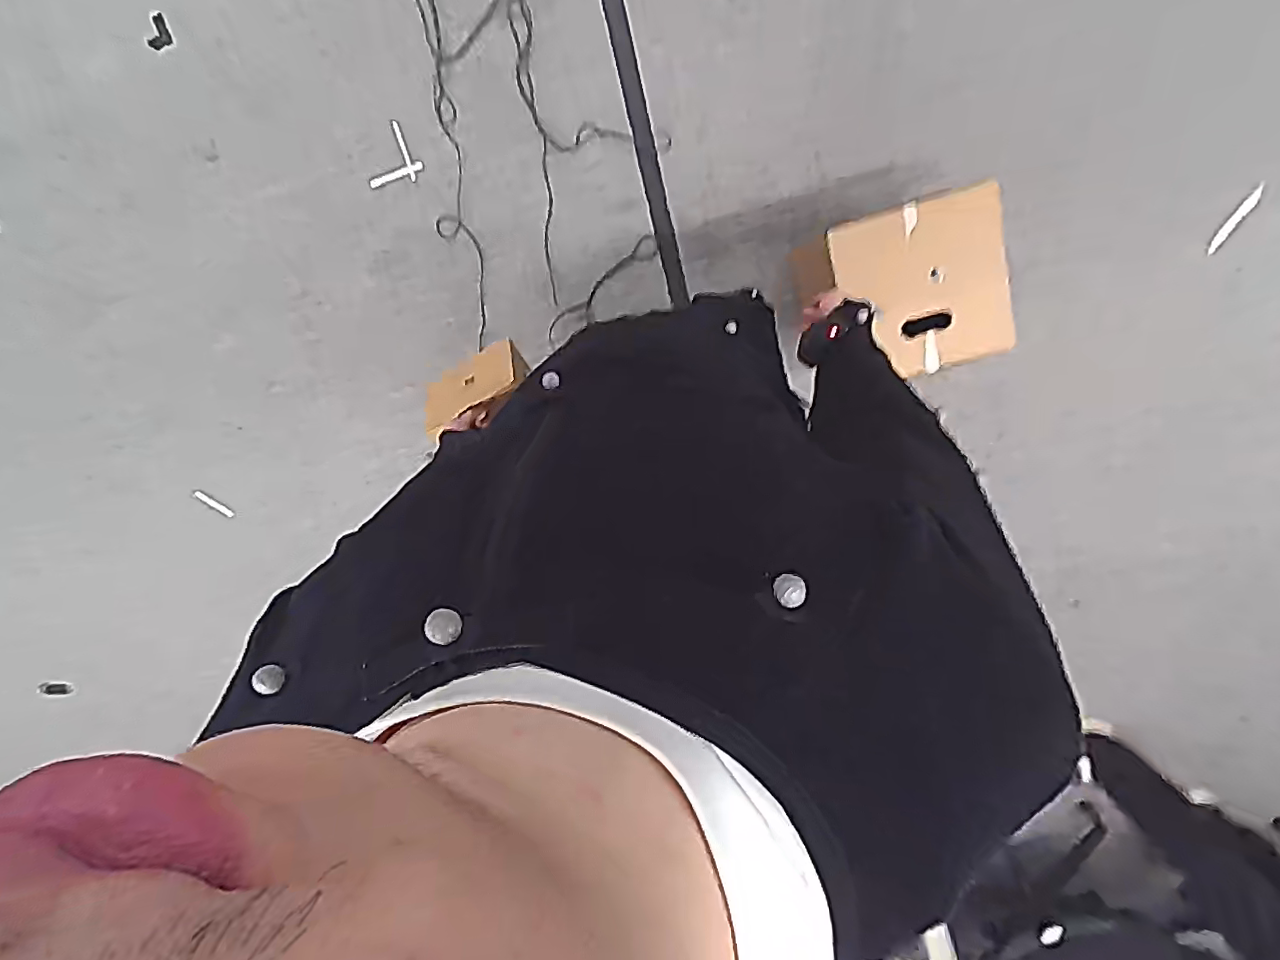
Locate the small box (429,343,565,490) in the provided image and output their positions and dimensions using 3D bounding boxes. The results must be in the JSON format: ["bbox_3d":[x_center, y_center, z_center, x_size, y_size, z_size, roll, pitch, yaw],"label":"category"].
[{"bbox_3d":[-0.248,-0.104,0.960,0.168,0.179,0.176,-28,129,6],"label":"small box"}]
